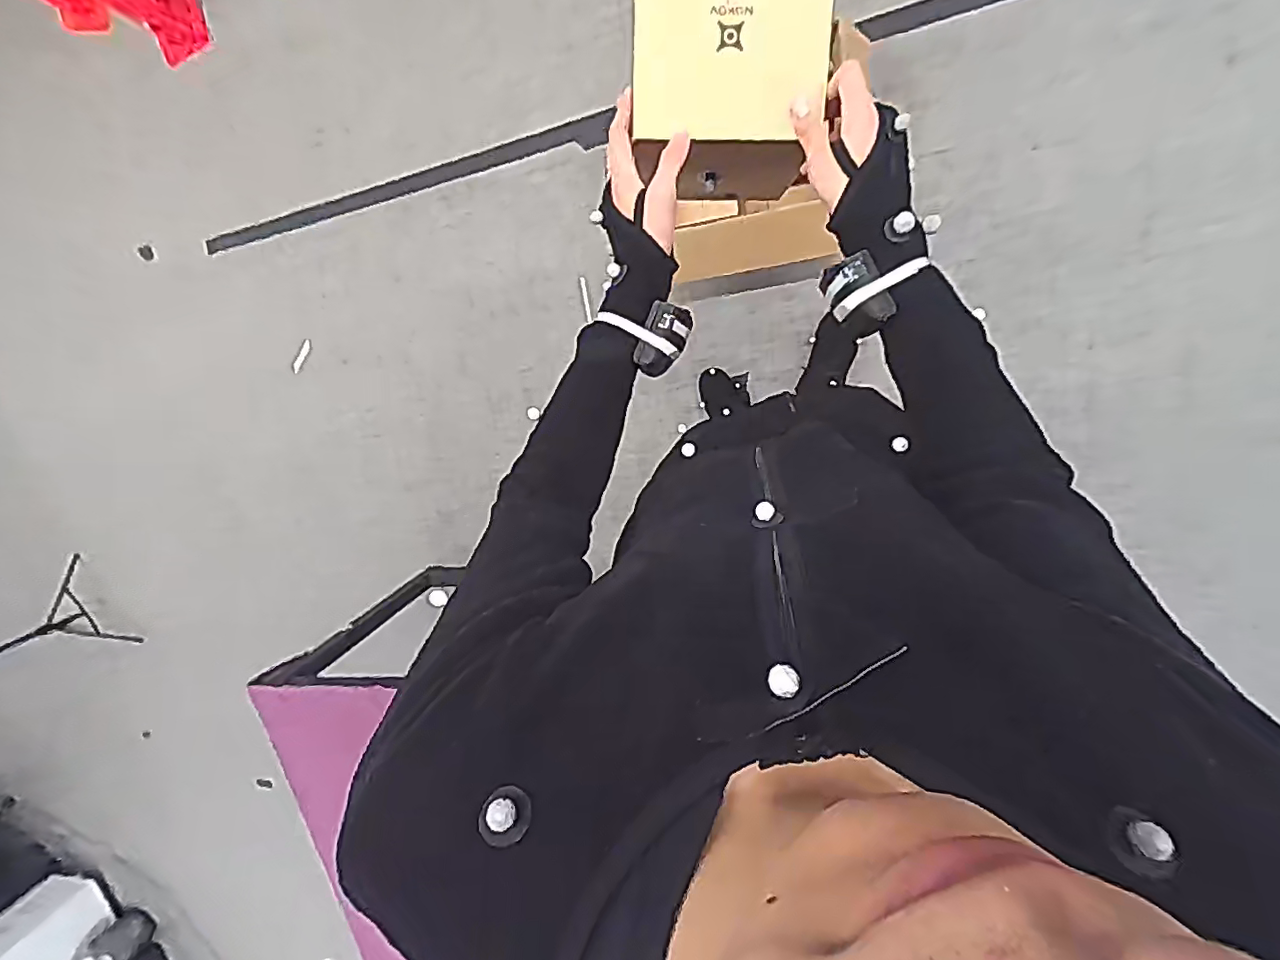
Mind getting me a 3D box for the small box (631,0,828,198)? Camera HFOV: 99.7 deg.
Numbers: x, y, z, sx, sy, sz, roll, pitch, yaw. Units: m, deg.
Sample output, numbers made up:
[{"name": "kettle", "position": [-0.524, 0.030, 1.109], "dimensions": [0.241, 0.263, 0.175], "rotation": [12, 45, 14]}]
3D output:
[{"name": "small box", "position": [0.079, -0.396, 0.537], "dimensions": [0.168, 0.176, 0.179], "rotation": [1, 100, 1]}]
